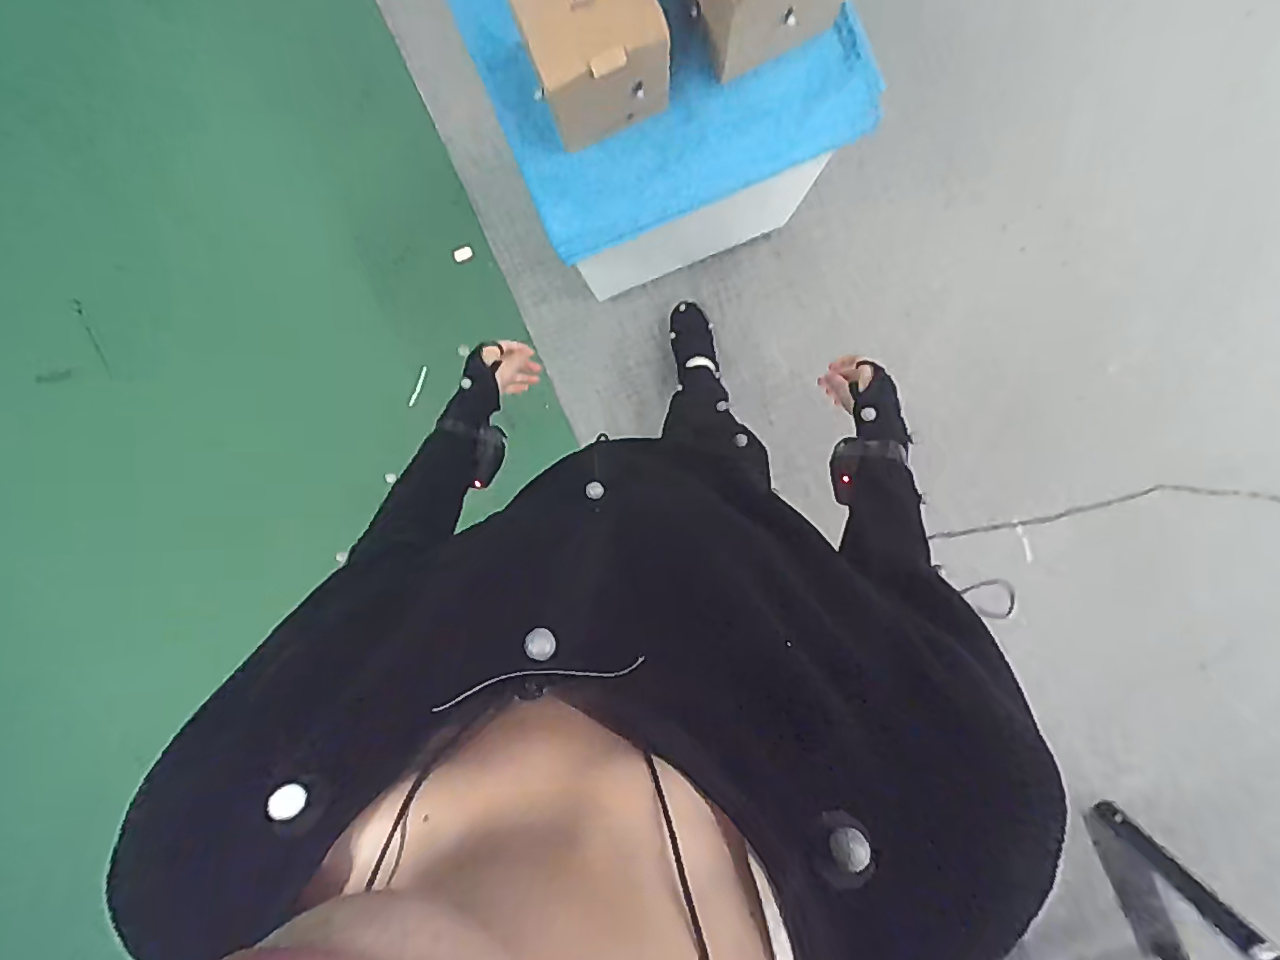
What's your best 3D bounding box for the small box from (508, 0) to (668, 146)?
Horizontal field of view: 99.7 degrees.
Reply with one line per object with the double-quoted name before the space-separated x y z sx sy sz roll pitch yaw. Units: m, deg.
"small box" -0.067 -0.584 0.723 0.168 0.176 0.179 -21 96 3
